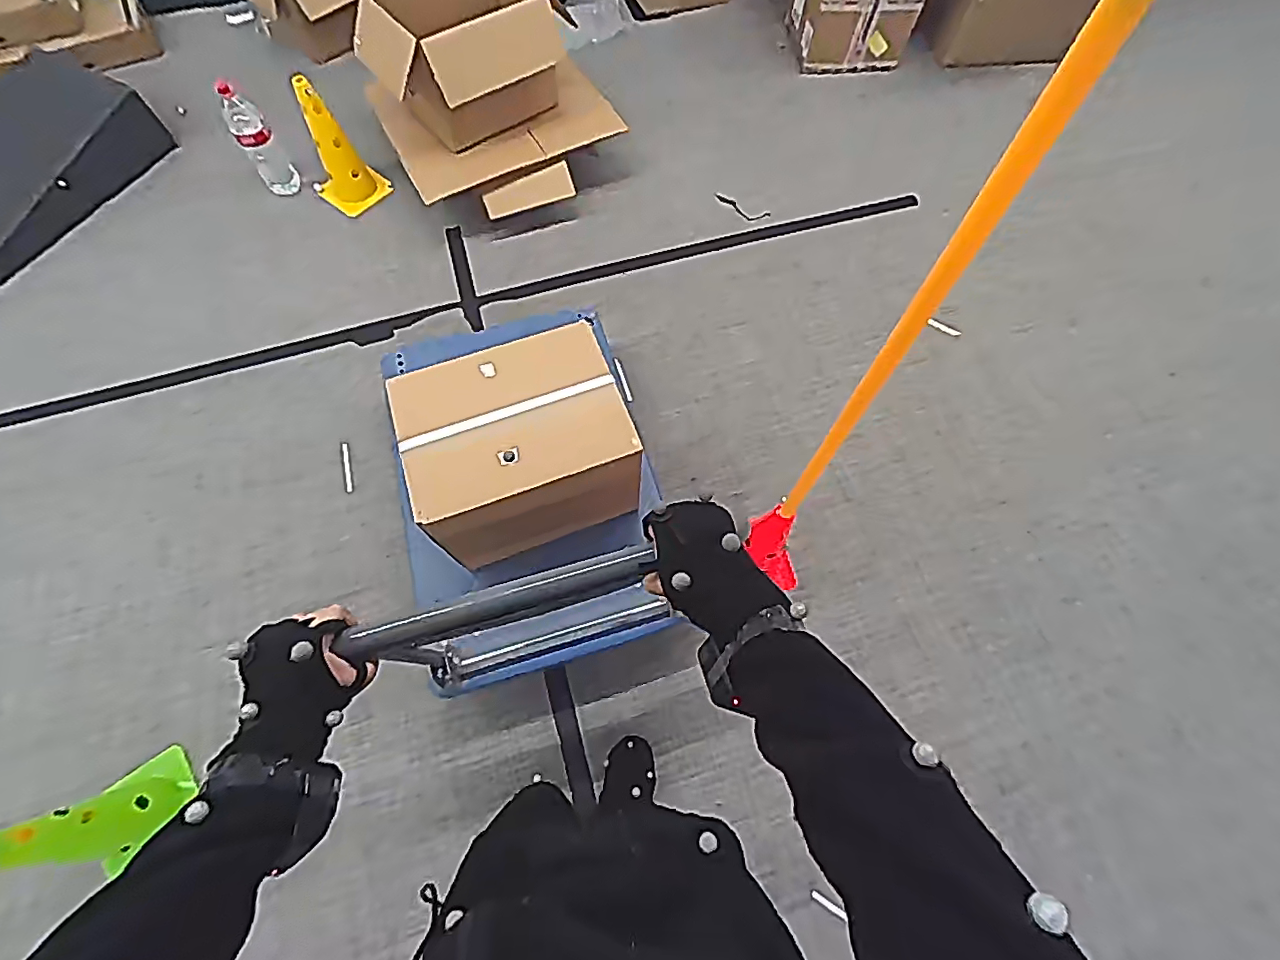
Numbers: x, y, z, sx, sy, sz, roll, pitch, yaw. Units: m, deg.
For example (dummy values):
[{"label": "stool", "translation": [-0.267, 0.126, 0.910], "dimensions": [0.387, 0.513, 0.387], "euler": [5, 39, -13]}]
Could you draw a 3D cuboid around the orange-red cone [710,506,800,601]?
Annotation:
[{"label": "orange-red cone", "translation": [0.295, 0.134, 1.227], "dimensions": [0.199, 0.360, 0.198], "euler": [-10, 68, -6]}]
